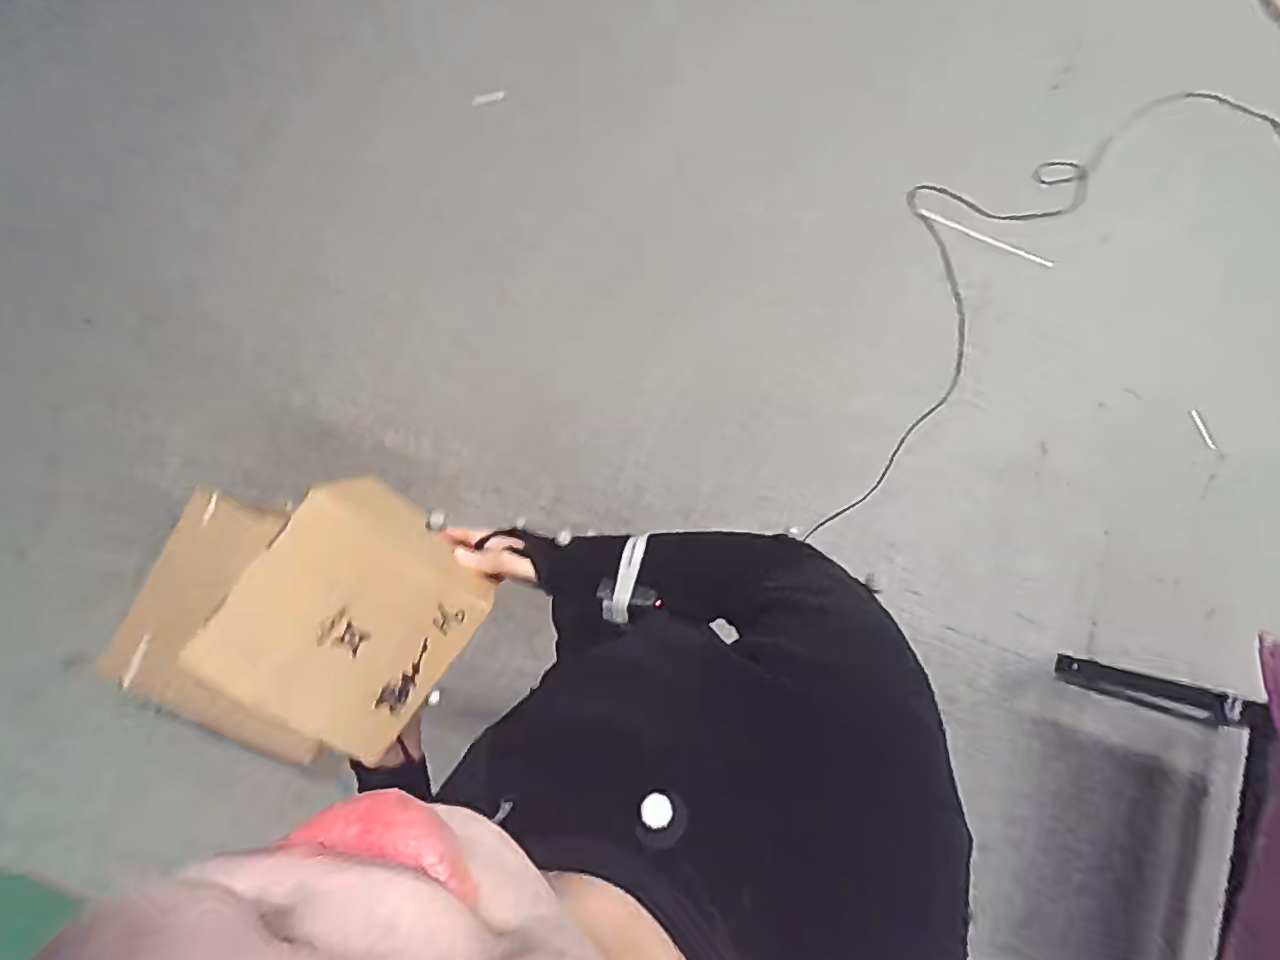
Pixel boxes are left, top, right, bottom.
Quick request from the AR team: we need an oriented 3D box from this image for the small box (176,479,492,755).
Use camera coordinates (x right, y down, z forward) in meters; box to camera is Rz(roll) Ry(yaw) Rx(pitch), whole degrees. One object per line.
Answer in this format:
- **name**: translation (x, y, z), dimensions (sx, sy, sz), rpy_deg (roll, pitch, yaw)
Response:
- **small box**: translation (-0.264, 0.113, 0.520), dimensions (0.179, 0.176, 0.168), rpy_deg (38, 85, -11)
